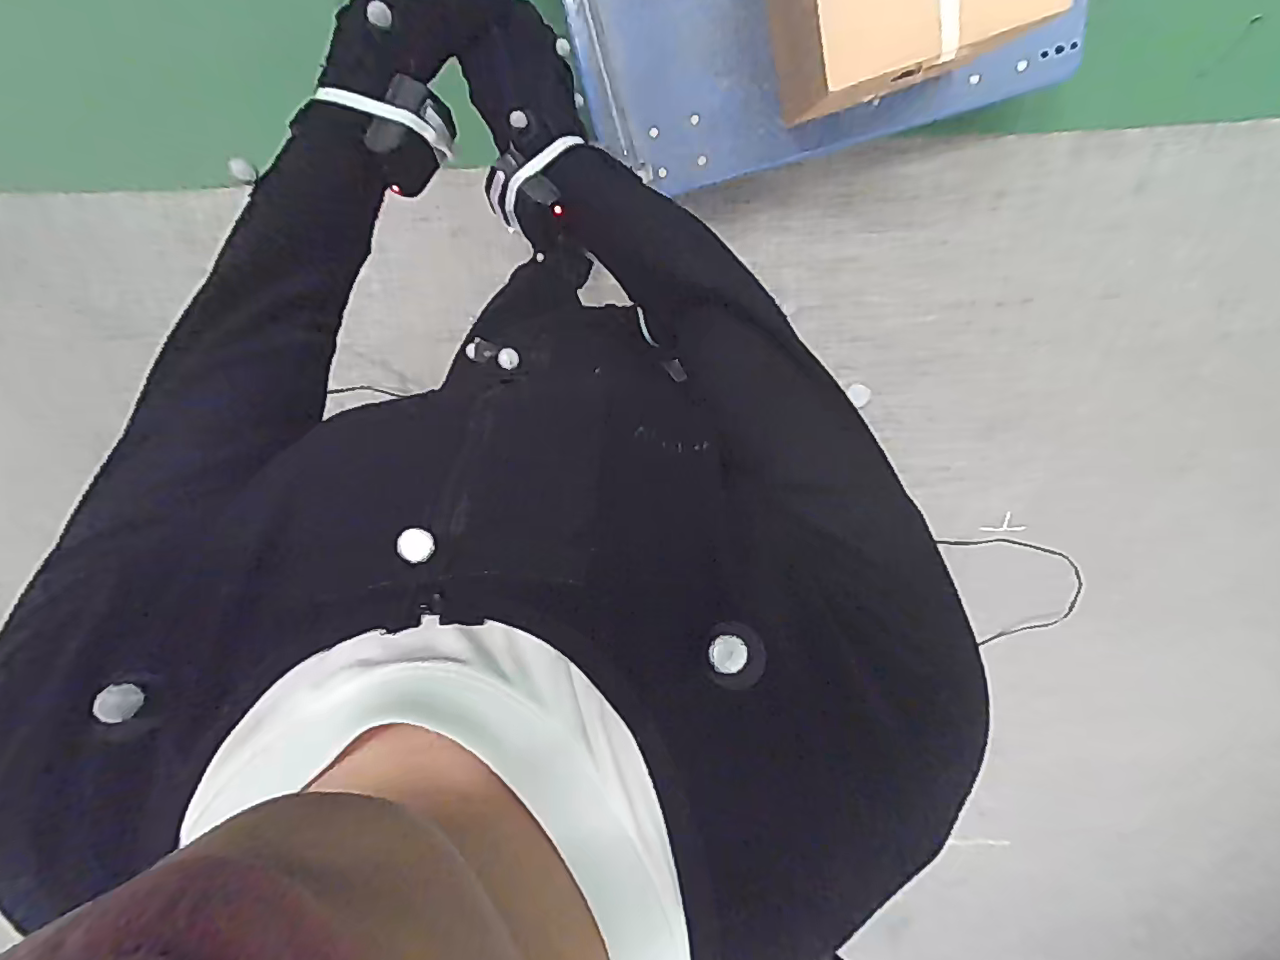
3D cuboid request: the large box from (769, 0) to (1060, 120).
[{"bbox_3d":[0.356,-0.818,0.778,0.320,0.320,0.408,-14,114,9],"label":"large box"}]
